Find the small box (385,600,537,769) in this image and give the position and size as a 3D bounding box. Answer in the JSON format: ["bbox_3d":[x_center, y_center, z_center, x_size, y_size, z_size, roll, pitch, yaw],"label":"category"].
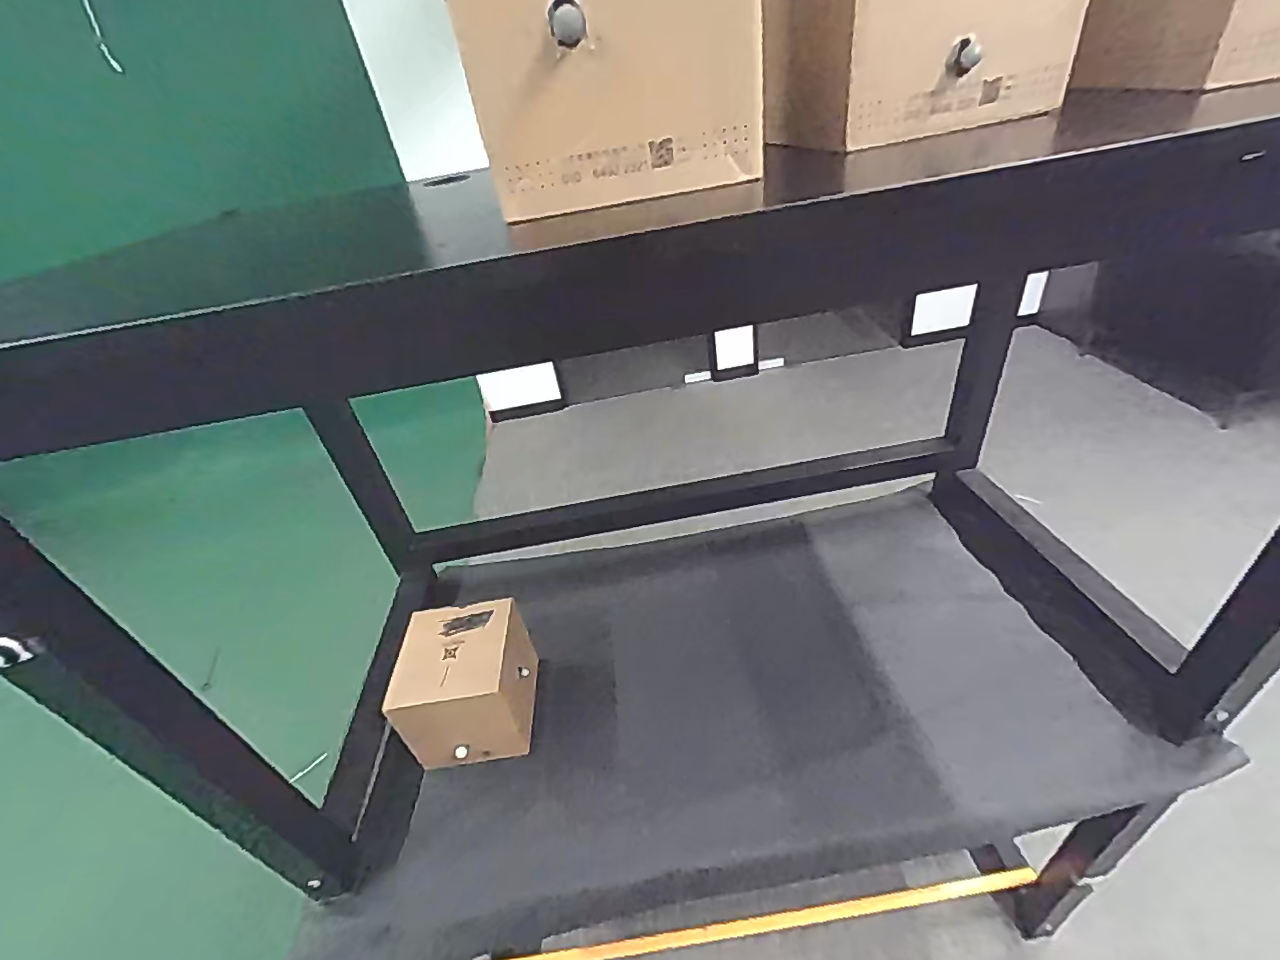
[{"bbox_3d":[-0.266,0.319,0.853,0.168,0.176,0.179,-10,36,1],"label":"small box"}]
